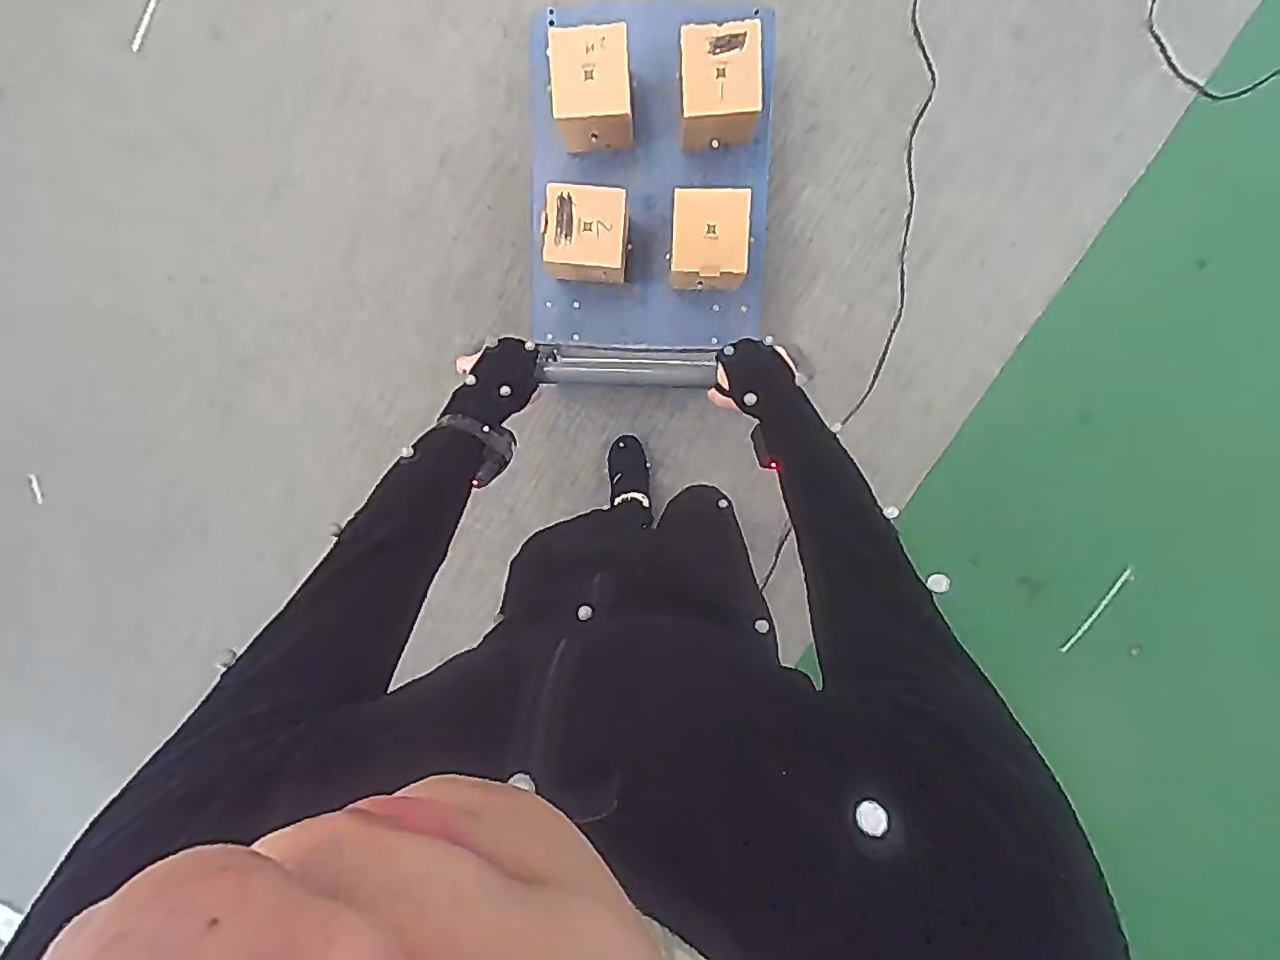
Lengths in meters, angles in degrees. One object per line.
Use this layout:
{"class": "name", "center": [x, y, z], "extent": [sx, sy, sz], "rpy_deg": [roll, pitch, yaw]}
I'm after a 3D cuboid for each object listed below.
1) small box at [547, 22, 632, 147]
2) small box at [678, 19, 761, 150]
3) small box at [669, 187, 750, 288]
{"class": "small box", "center": [-0.106, -0.865, 1.204], "extent": [0.168, 0.176, 0.179], "rpy_deg": [-2, 99, 1]}
{"class": "small box", "center": [0.170, -0.865, 1.196], "extent": [0.168, 0.176, 0.179], "rpy_deg": [-2, 100, 3]}
{"class": "small box", "center": [0.154, -0.551, 1.247], "extent": [0.168, 0.176, 0.179], "rpy_deg": [1, 100, 1]}
